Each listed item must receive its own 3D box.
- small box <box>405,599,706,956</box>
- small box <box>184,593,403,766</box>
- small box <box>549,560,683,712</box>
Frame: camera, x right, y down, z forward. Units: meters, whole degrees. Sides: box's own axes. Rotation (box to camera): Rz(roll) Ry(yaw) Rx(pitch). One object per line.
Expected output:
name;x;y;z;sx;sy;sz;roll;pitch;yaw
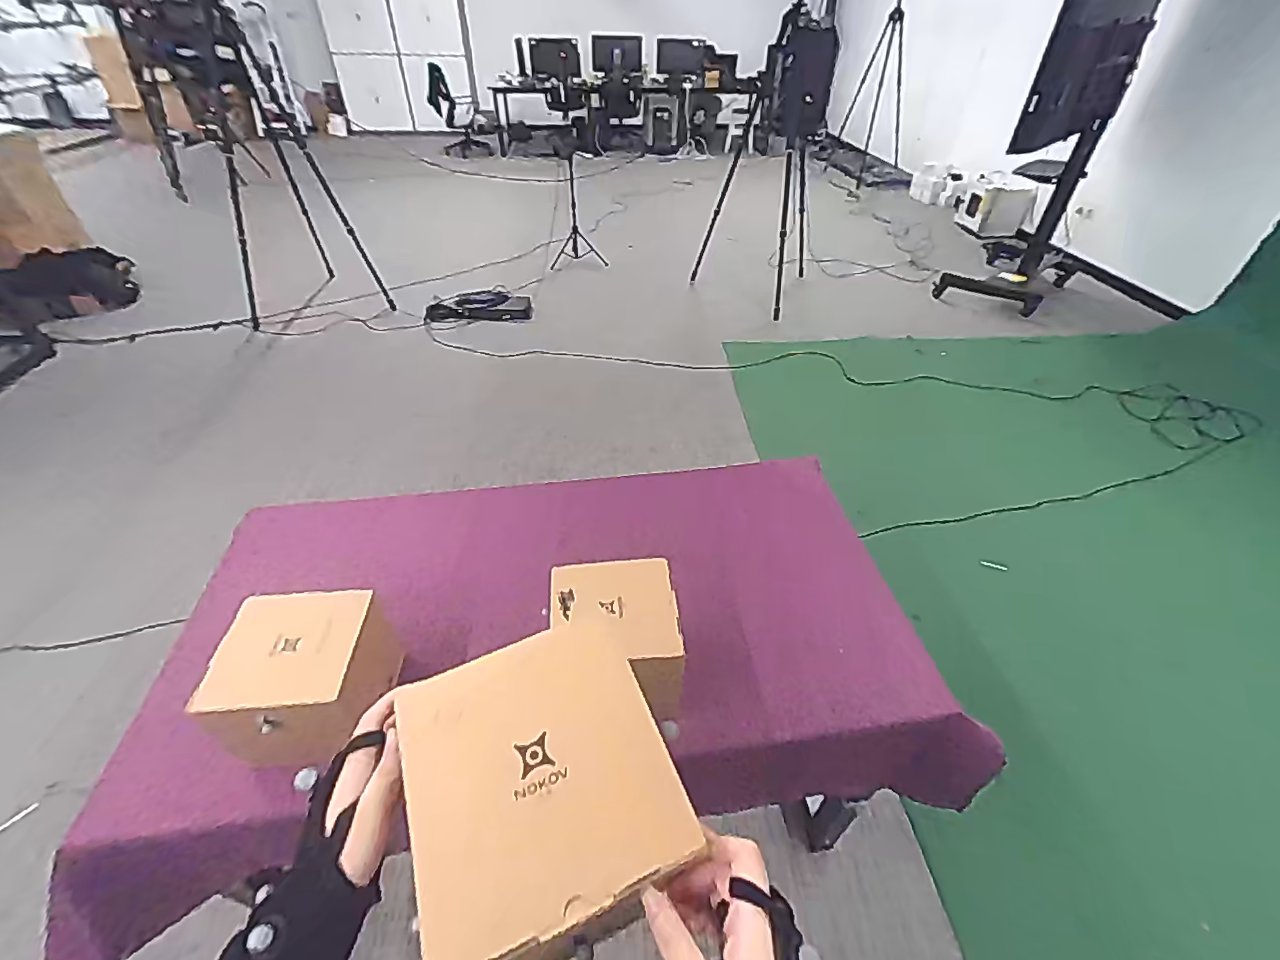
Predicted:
small box;-0.064;0.231;0.424;0.168;0.176;0.179;-20;51;-14
small box;-0.457;0.277;0.750;0.179;0.176;0.168;-3;42;-5
small box;-0.041;0.239;0.800;0.179;0.176;0.168;-3;41;-5
